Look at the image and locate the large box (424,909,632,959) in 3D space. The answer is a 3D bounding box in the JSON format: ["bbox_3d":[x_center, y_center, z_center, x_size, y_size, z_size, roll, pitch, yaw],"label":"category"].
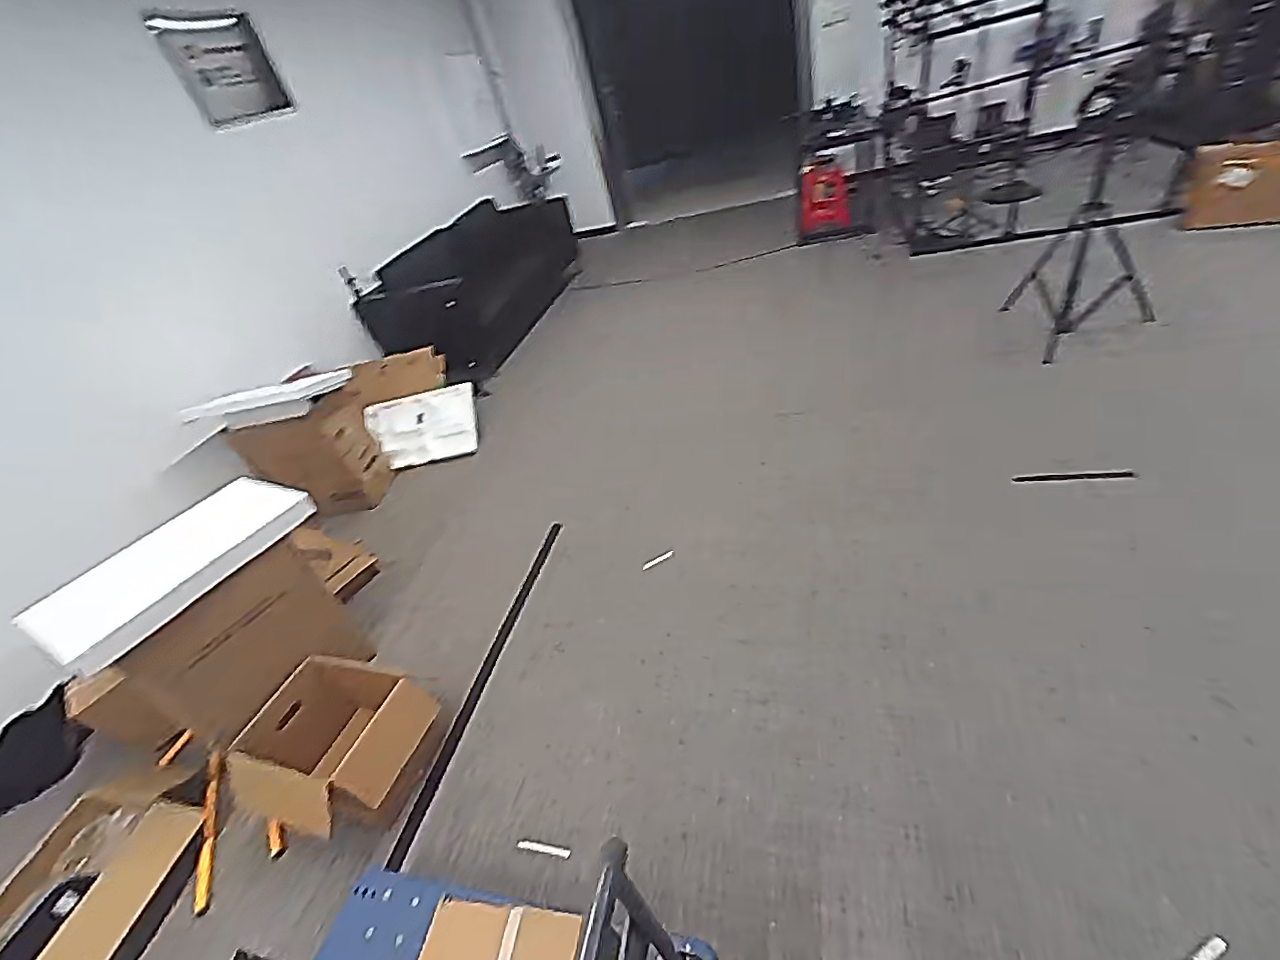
[{"bbox_3d":[-0.191,0.968,0.832,0.320,0.320,0.408,-6,36,14],"label":"large box"}]
